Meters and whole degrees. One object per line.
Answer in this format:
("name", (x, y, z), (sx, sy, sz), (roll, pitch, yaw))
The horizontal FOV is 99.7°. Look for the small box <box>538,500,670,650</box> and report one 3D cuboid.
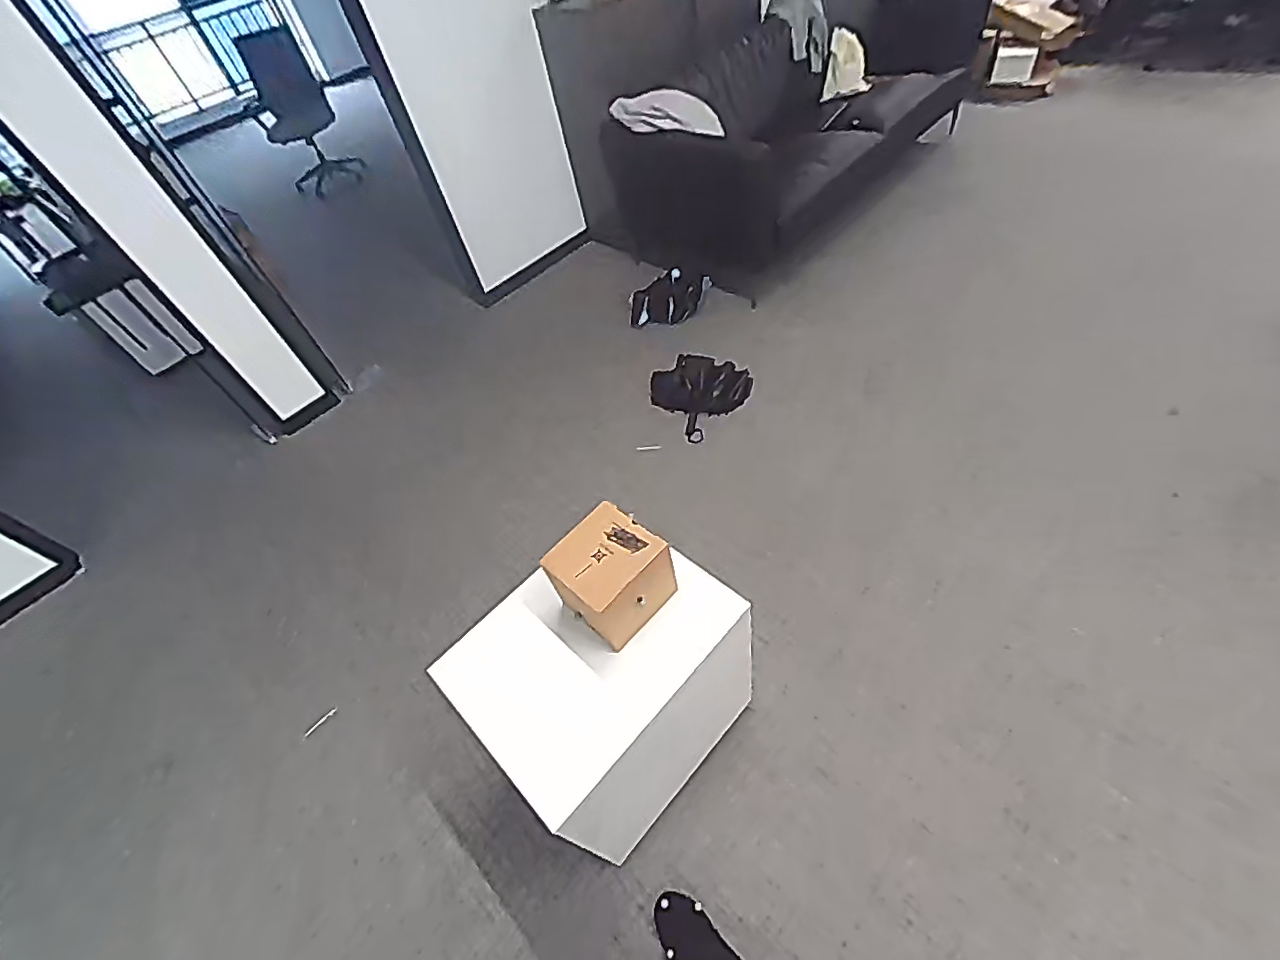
("small box", (-0.057, 0.177, 1.006), (0.168, 0.176, 0.179), (33, 63, 32))
